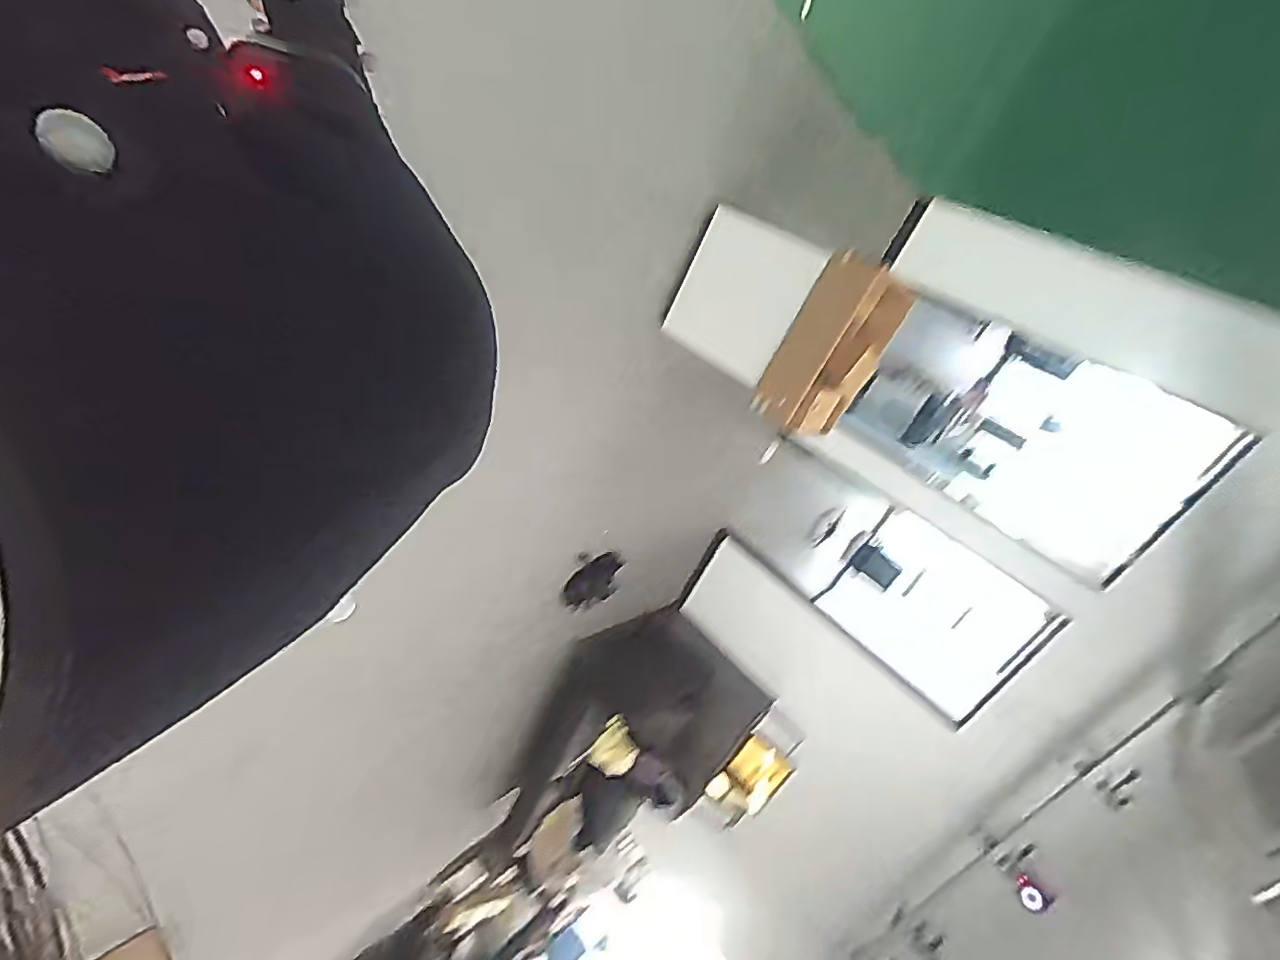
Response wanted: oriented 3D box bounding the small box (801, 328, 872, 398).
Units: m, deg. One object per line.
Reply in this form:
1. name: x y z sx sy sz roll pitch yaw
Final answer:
1. small box: 0.740 -0.445 2.040 0.168 0.176 0.179 -52 145 6
